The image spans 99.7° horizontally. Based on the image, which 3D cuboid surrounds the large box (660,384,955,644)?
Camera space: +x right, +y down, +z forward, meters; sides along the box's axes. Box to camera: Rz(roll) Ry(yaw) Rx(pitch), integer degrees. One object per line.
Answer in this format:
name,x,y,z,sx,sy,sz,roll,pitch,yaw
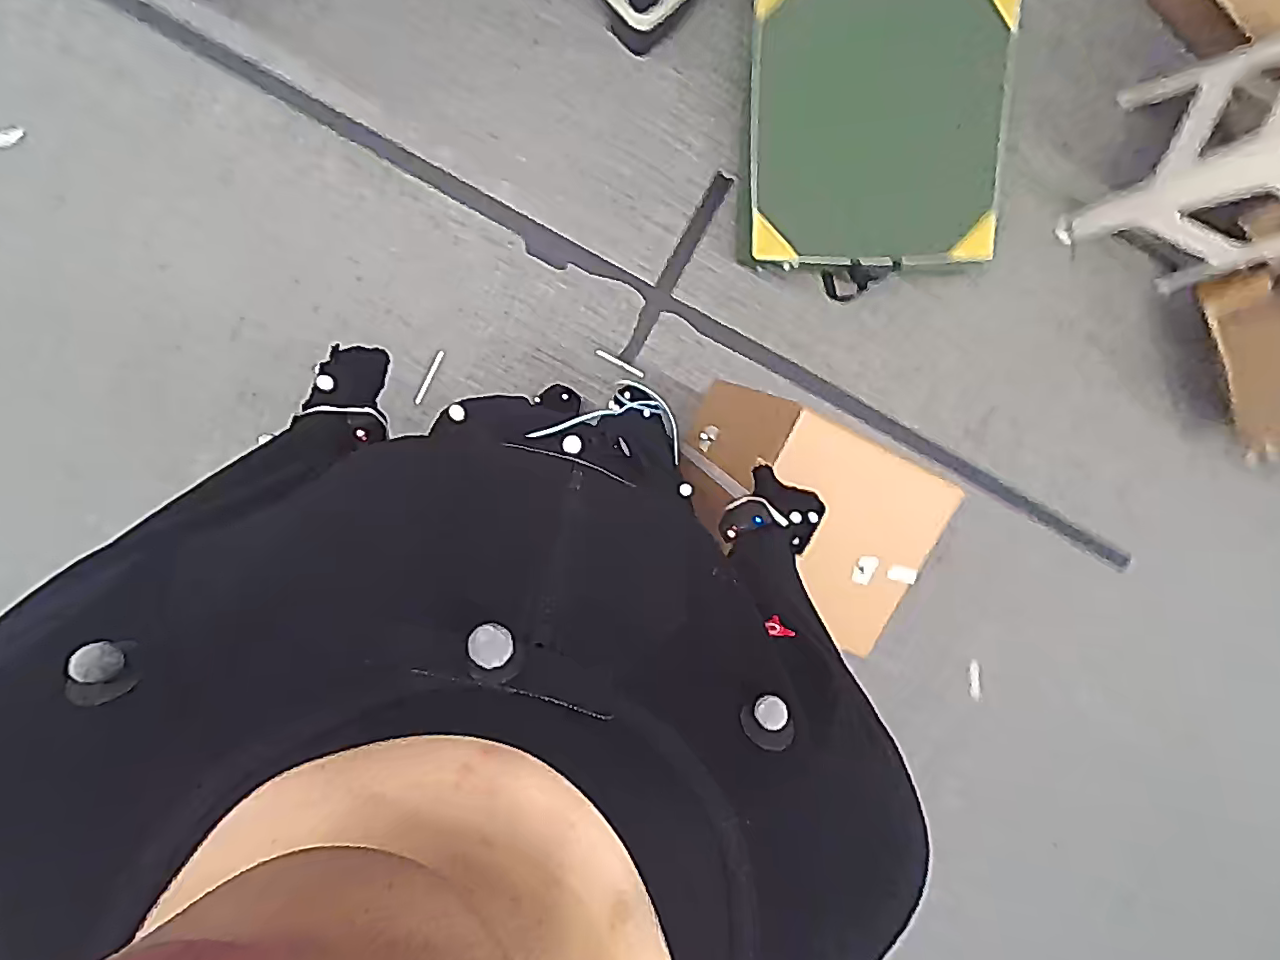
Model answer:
large box,0.270,0.037,1.012,0.320,0.408,0.320,24,101,-14
